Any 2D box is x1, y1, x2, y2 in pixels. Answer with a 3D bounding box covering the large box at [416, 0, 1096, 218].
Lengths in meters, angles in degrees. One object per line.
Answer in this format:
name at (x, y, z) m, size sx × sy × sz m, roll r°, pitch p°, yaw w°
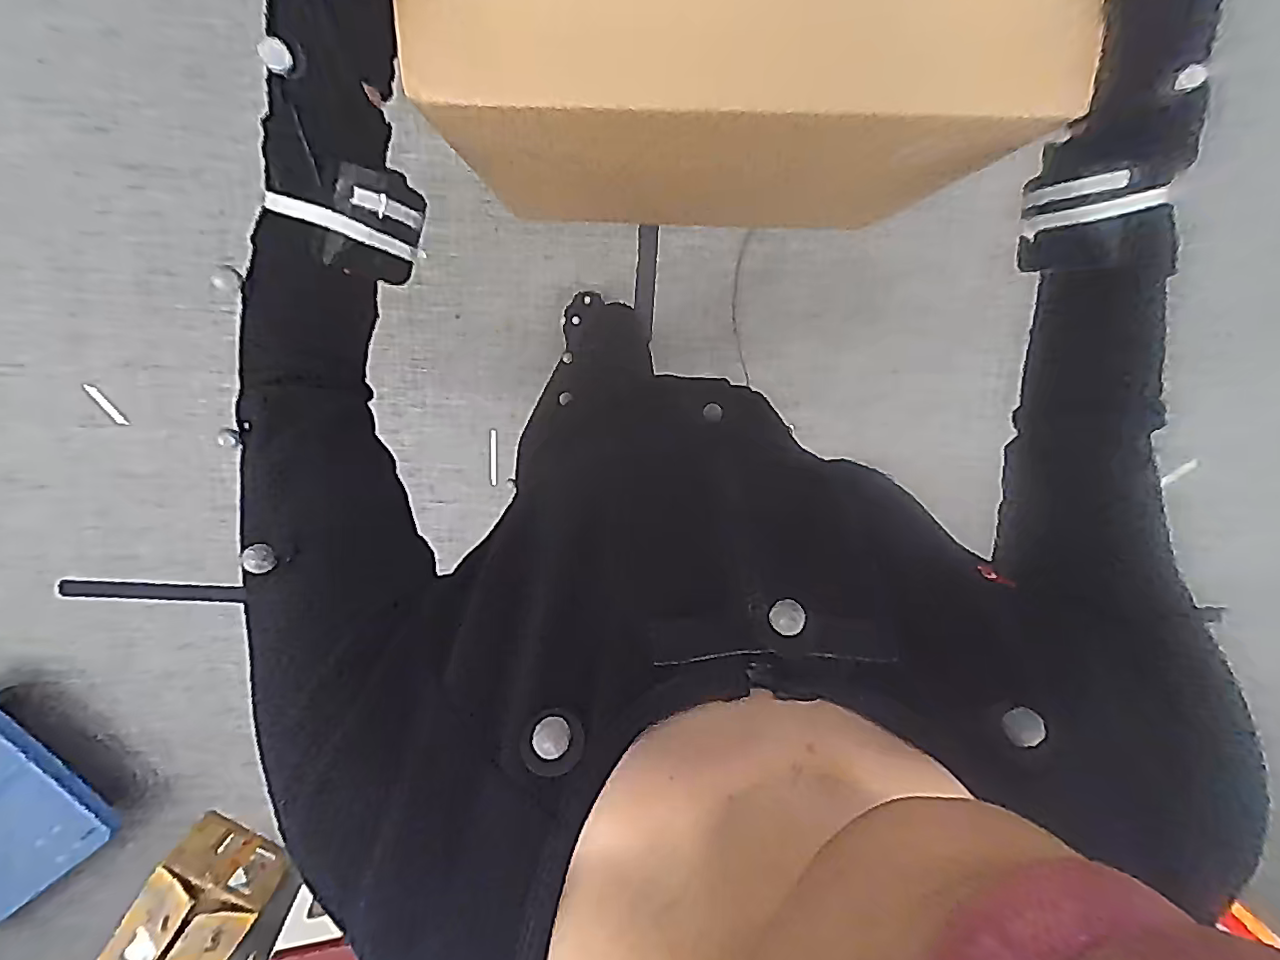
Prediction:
large box at (0.063, -0.413, 0.433) m, size 0.408 × 0.320 × 0.320 m, roll 0°, pitch 104°, yaw -2°
